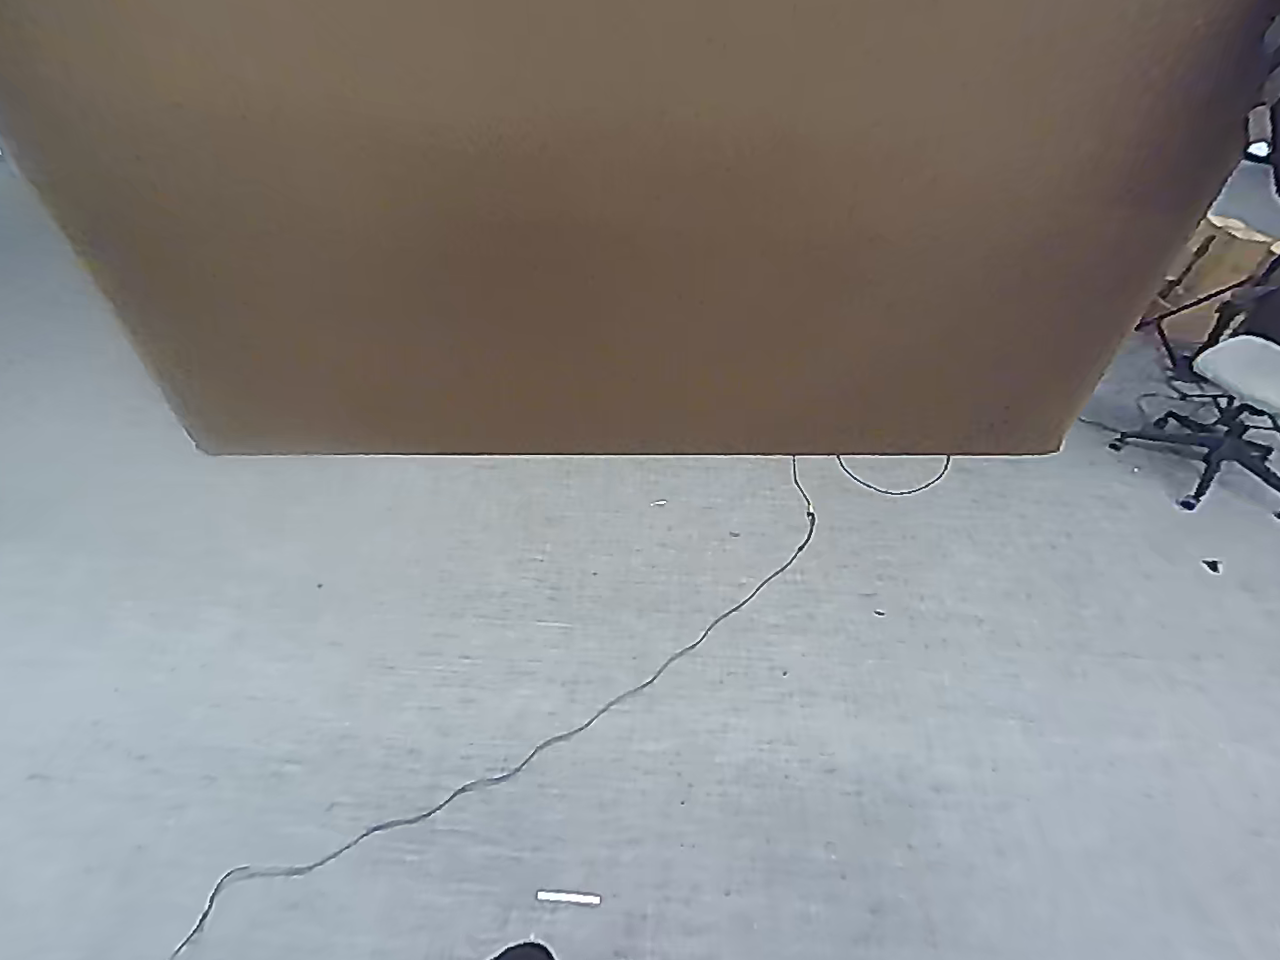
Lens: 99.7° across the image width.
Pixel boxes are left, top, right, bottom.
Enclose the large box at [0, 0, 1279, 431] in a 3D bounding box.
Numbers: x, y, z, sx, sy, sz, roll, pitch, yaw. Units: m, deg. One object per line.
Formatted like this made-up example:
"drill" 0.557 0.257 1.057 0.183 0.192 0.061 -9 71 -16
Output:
"large box" -0.001 -0.233 0.279 0.408 0.320 0.320 1 41 -1
